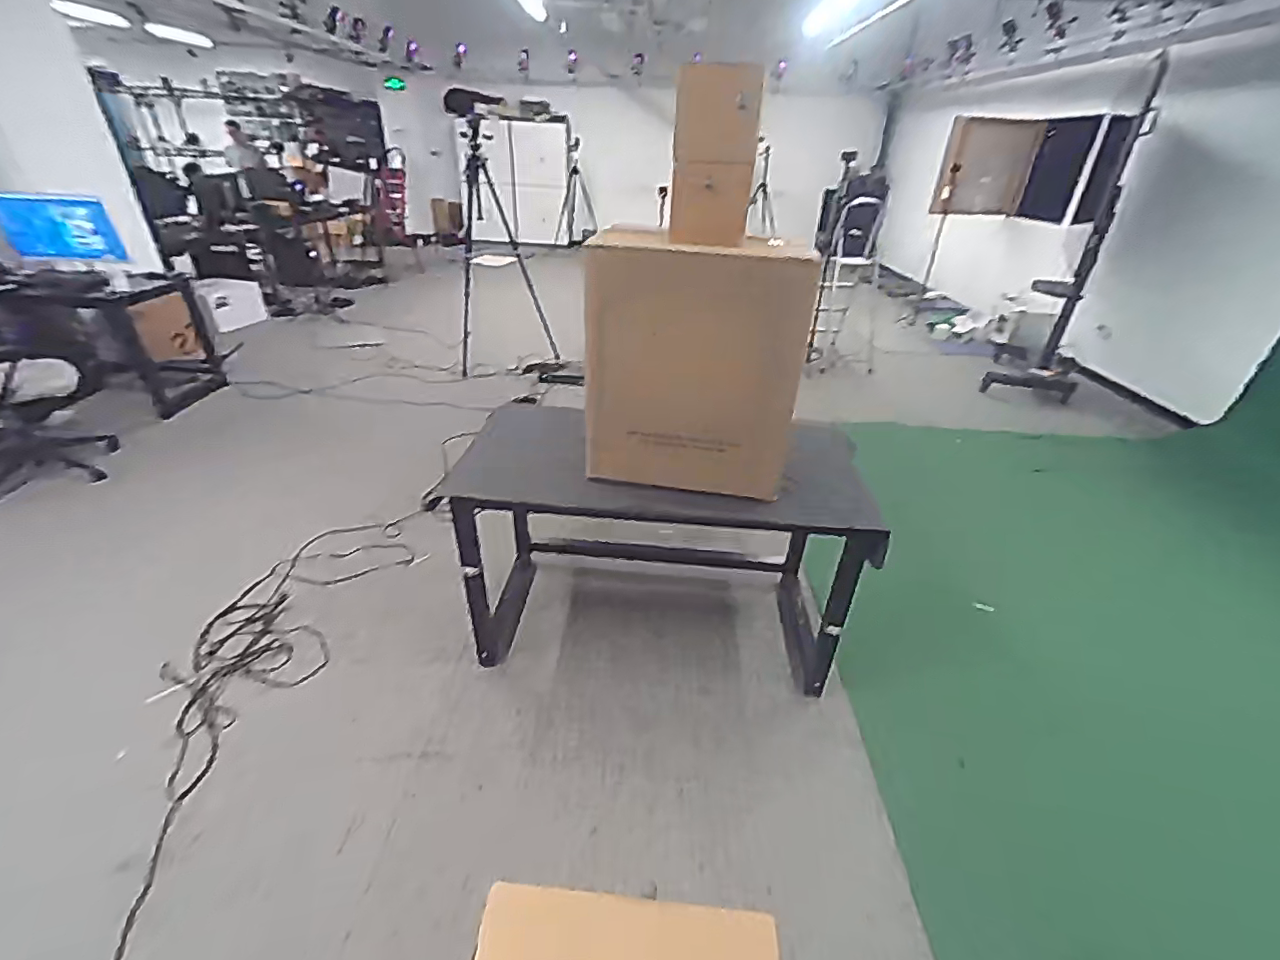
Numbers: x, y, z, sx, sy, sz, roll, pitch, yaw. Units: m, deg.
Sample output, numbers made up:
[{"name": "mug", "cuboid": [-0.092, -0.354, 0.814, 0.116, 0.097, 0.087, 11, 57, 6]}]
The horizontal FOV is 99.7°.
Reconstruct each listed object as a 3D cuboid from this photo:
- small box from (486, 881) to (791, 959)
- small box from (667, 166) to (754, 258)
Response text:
[{"name": "small box", "cuboid": [-0.010, 0.368, 0.324, 0.179, 0.176, 0.168, 5, 42, 3]}, {"name": "small box", "cuboid": [0.163, -0.620, 1.251, 0.179, 0.176, 0.168, 7, 34, 8]}]
